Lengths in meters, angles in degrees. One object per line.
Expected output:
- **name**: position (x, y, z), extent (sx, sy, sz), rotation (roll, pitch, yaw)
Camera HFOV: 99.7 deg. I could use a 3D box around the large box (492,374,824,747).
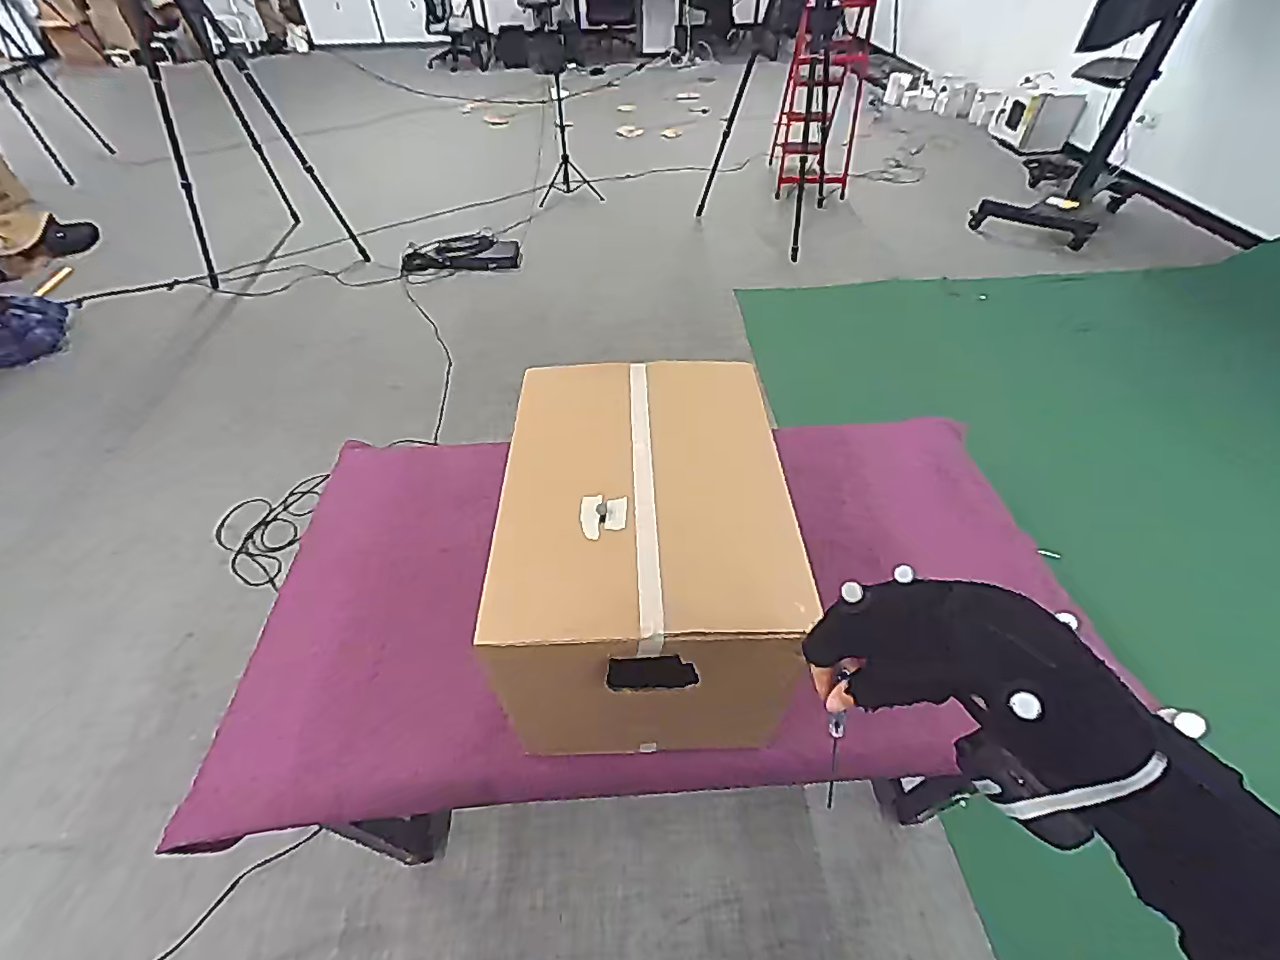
- **large box**: position (0.008, 0.101, 0.732), extent (0.320, 0.320, 0.408), rotation (-2, 48, -1)
